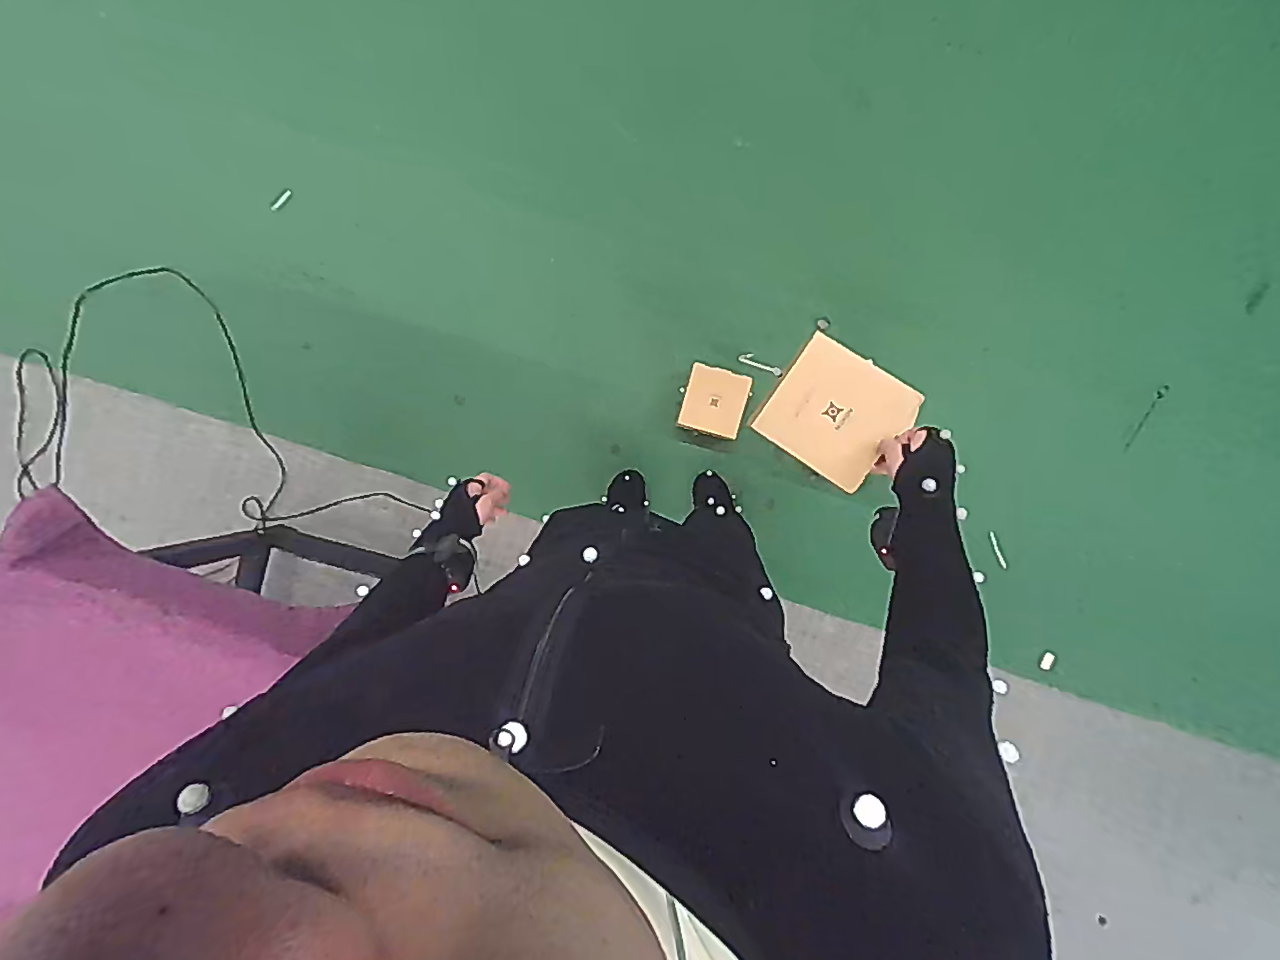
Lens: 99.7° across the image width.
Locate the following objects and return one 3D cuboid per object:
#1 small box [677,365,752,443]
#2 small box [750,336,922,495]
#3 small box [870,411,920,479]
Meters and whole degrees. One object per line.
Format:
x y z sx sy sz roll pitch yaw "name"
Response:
0.206 -0.209 1.539 0.168 0.176 0.179 15 92 1 "small box"
0.290 -0.101 0.844 0.179 0.176 0.168 34 100 3 "small box"
0.563 -0.116 1.369 0.168 0.176 0.179 20 95 -1 "small box"
